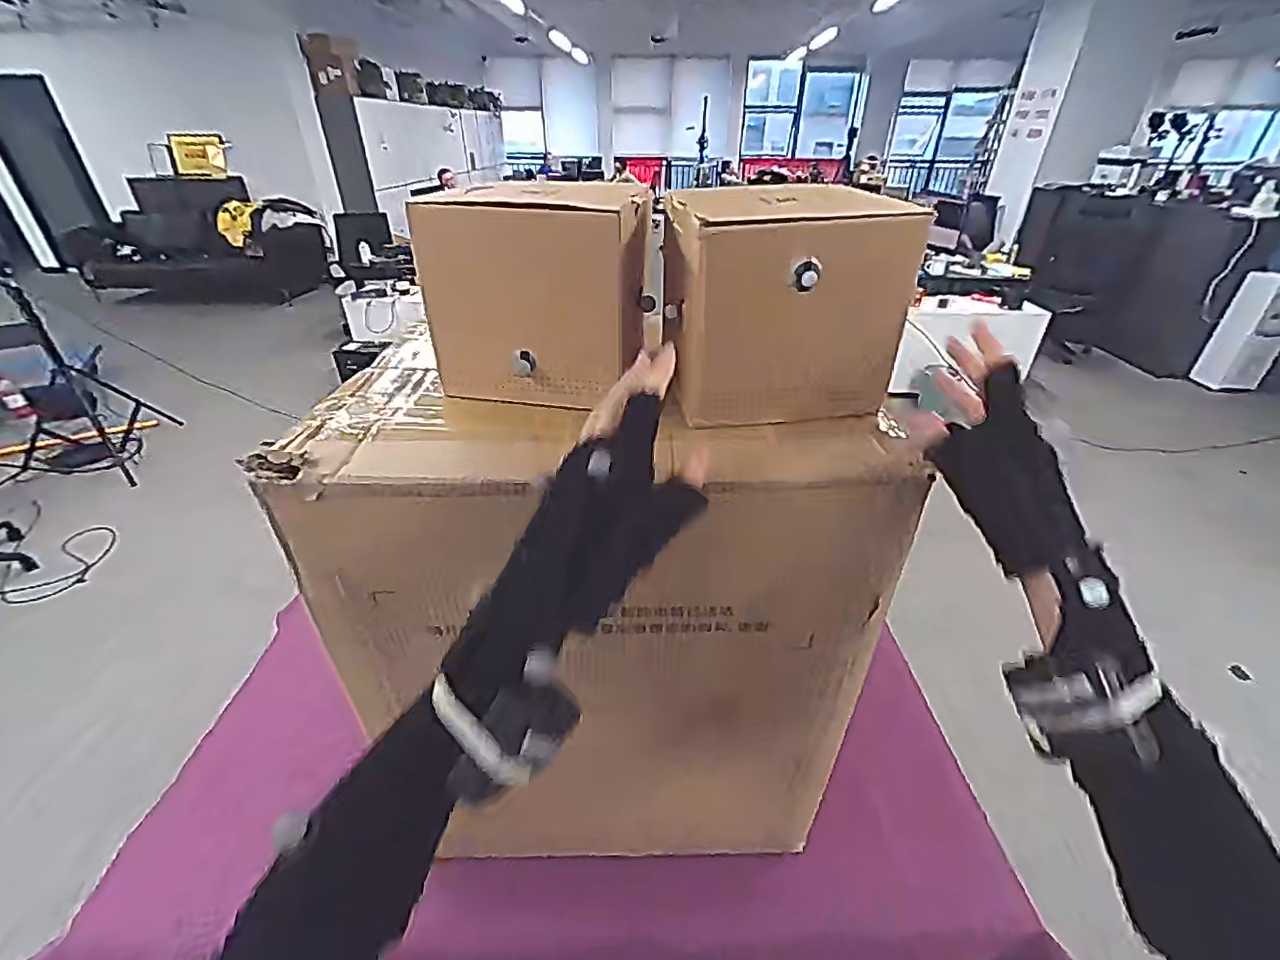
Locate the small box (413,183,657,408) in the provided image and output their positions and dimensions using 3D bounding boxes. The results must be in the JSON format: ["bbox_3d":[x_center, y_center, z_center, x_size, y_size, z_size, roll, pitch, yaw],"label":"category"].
[{"bbox_3d":[-0.085,-0.182,0.526,0.179,0.176,0.168,7,33,7],"label":"small box"}]
